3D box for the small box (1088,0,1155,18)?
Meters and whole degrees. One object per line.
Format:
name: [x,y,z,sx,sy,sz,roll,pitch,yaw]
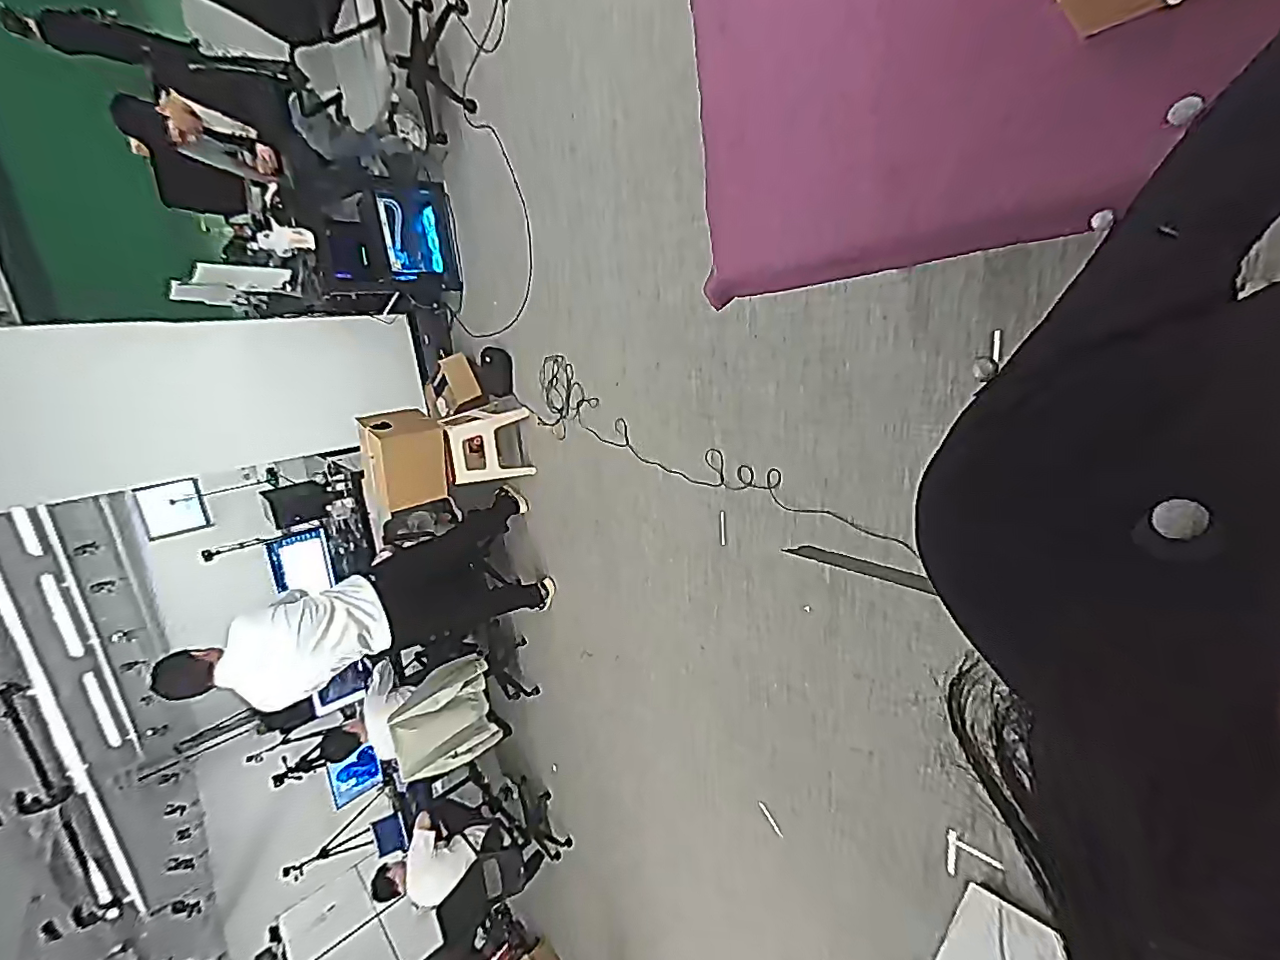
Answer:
small box: [0.454,-0.526,0.429,0.168,0.176,0.179,8,111,48]
